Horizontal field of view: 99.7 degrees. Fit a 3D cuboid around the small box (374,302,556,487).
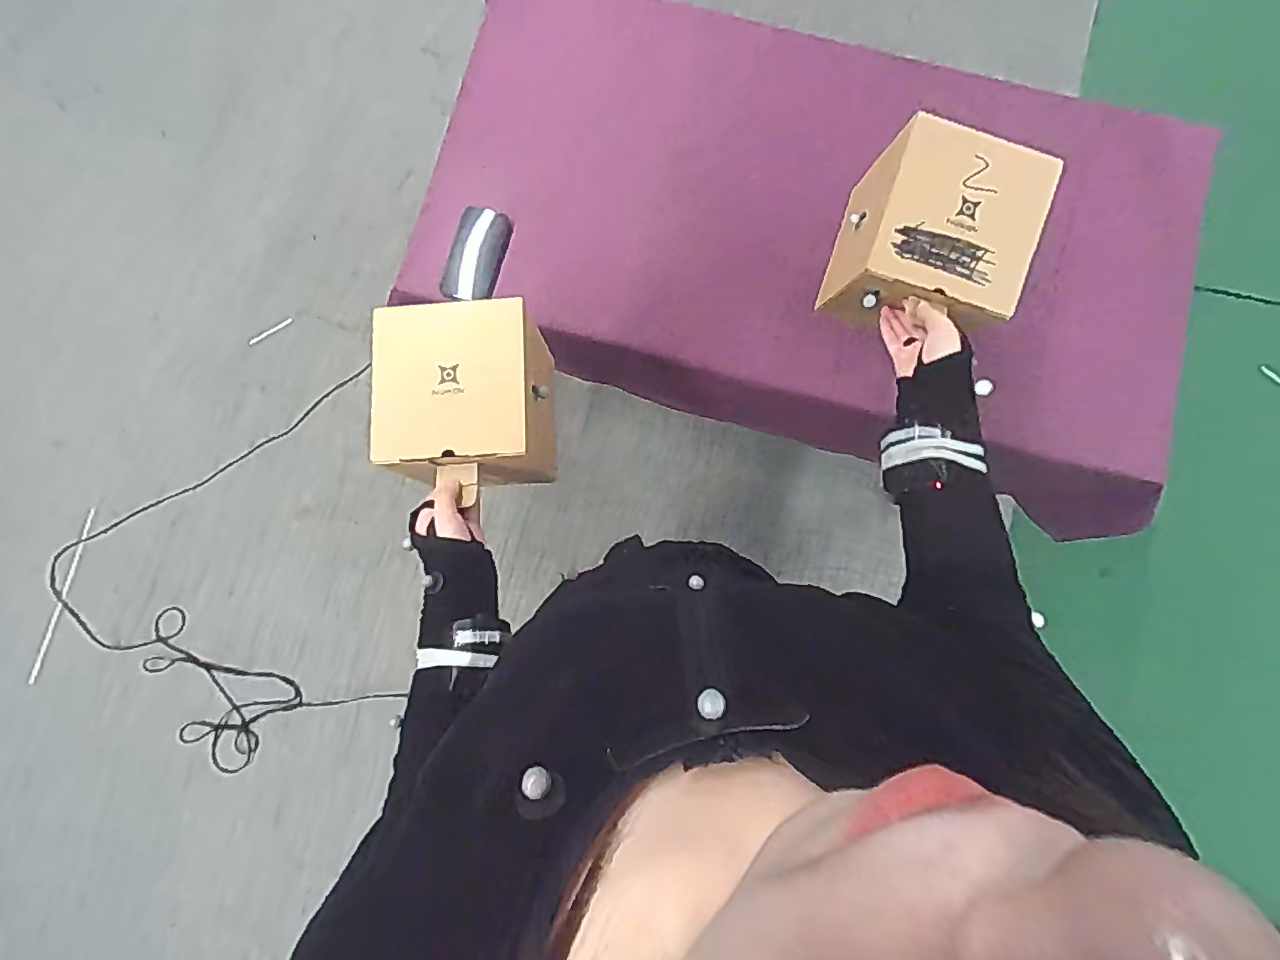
[{"bbox_3d":[-0.199,-0.093,0.657,0.168,0.176,0.179,-3,81,2],"label":"small box"}]
